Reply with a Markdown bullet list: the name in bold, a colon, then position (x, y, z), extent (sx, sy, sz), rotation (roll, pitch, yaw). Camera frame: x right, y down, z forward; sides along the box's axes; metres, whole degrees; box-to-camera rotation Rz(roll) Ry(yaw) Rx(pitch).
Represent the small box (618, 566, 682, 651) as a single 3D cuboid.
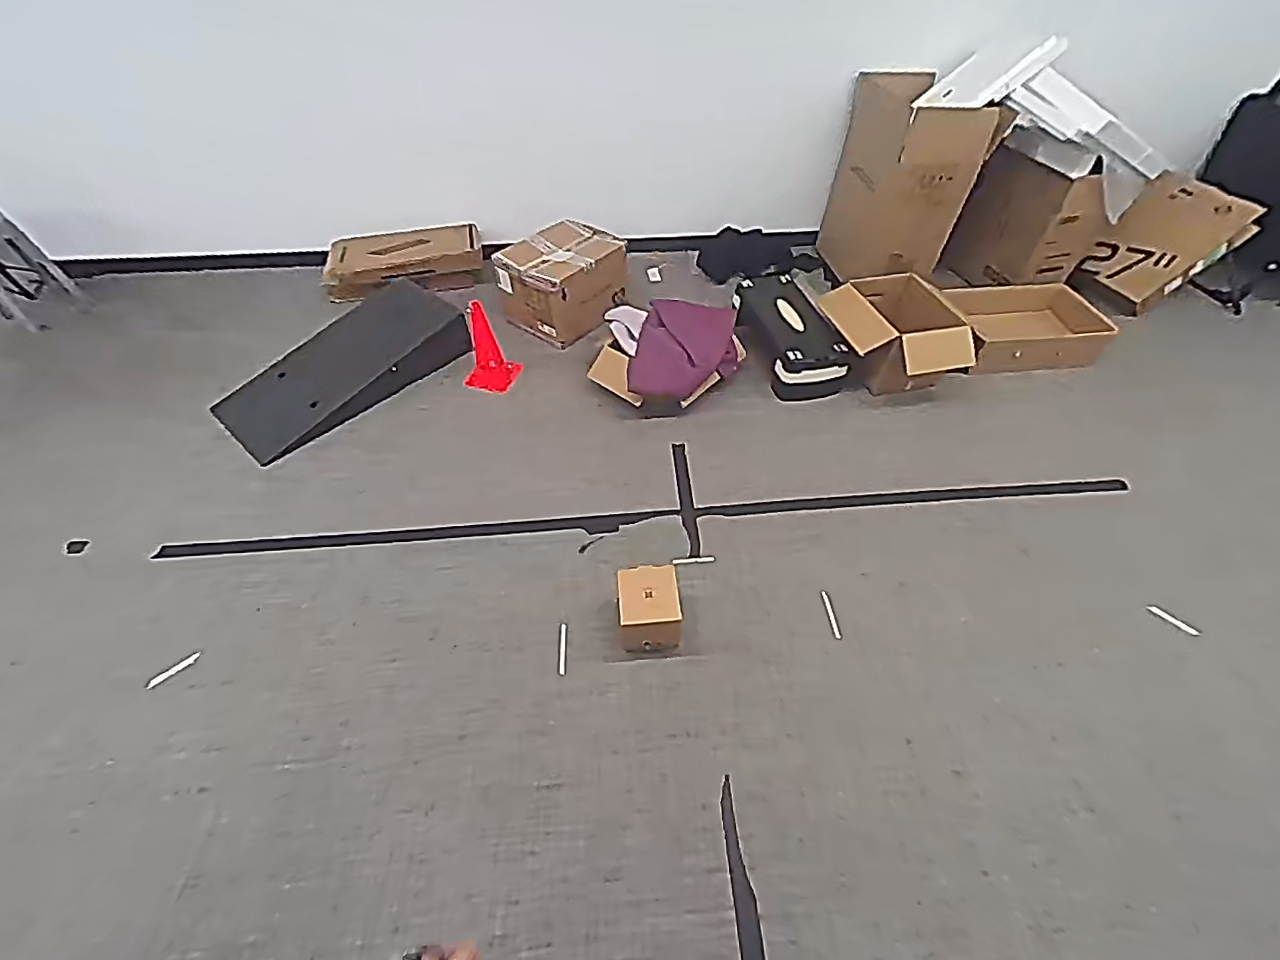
- **small box**: position (0.024, 0.368, 1.543), extent (0.168, 0.176, 0.179), rotation (-5, 50, -3)
